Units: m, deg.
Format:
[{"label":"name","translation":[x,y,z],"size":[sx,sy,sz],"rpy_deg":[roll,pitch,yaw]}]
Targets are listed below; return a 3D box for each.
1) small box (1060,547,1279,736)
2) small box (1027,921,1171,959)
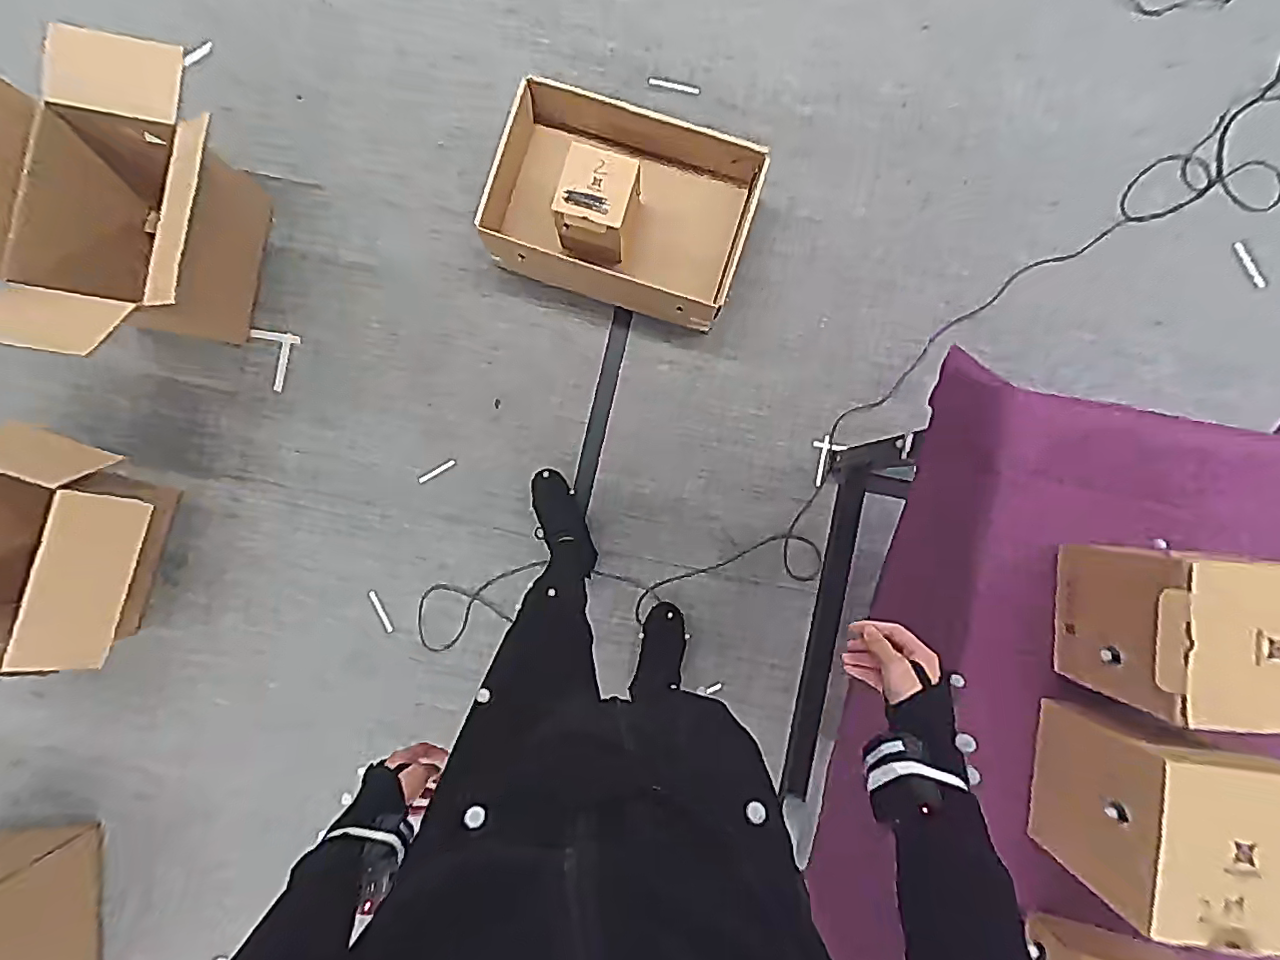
[{"label":"small box","translation":[0.618,0.169,0.607],"size":[0.179,0.176,0.168],"rpy_deg":[4,89,0]},{"label":"small box","translation":[0.550,0.638,0.592],"size":[0.179,0.176,0.168],"rpy_deg":[15,88,0]}]
